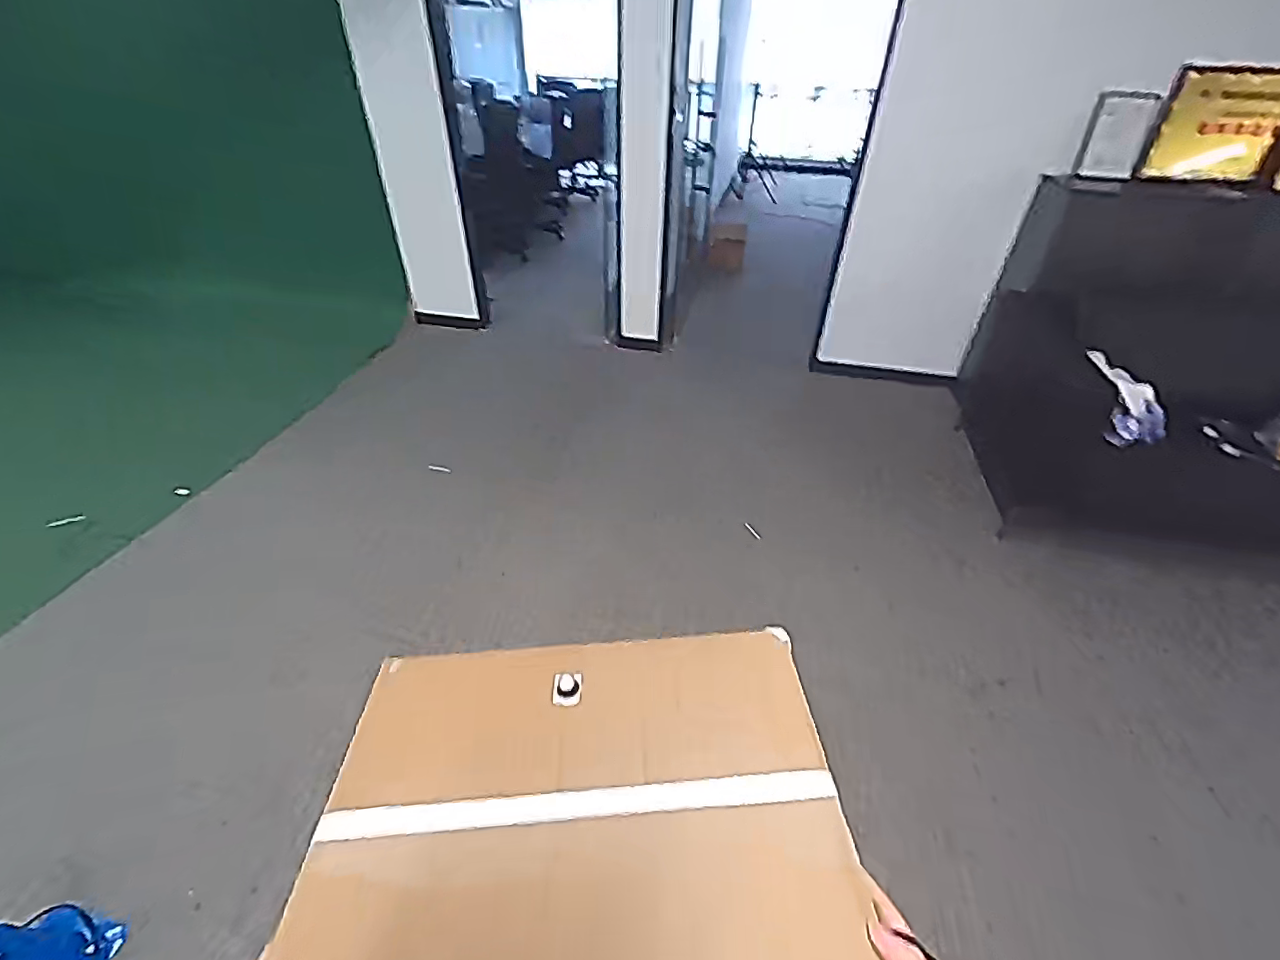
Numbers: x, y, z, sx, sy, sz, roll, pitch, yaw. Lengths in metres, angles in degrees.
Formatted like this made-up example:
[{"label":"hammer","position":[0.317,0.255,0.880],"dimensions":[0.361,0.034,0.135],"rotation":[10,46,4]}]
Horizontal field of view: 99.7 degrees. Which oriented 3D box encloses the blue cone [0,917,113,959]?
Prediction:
[{"label":"blue cone","position":[-1.203,0.873,0.985],"dimensions":[0.192,0.380,0.193],"rotation":[8,37,7]}]
